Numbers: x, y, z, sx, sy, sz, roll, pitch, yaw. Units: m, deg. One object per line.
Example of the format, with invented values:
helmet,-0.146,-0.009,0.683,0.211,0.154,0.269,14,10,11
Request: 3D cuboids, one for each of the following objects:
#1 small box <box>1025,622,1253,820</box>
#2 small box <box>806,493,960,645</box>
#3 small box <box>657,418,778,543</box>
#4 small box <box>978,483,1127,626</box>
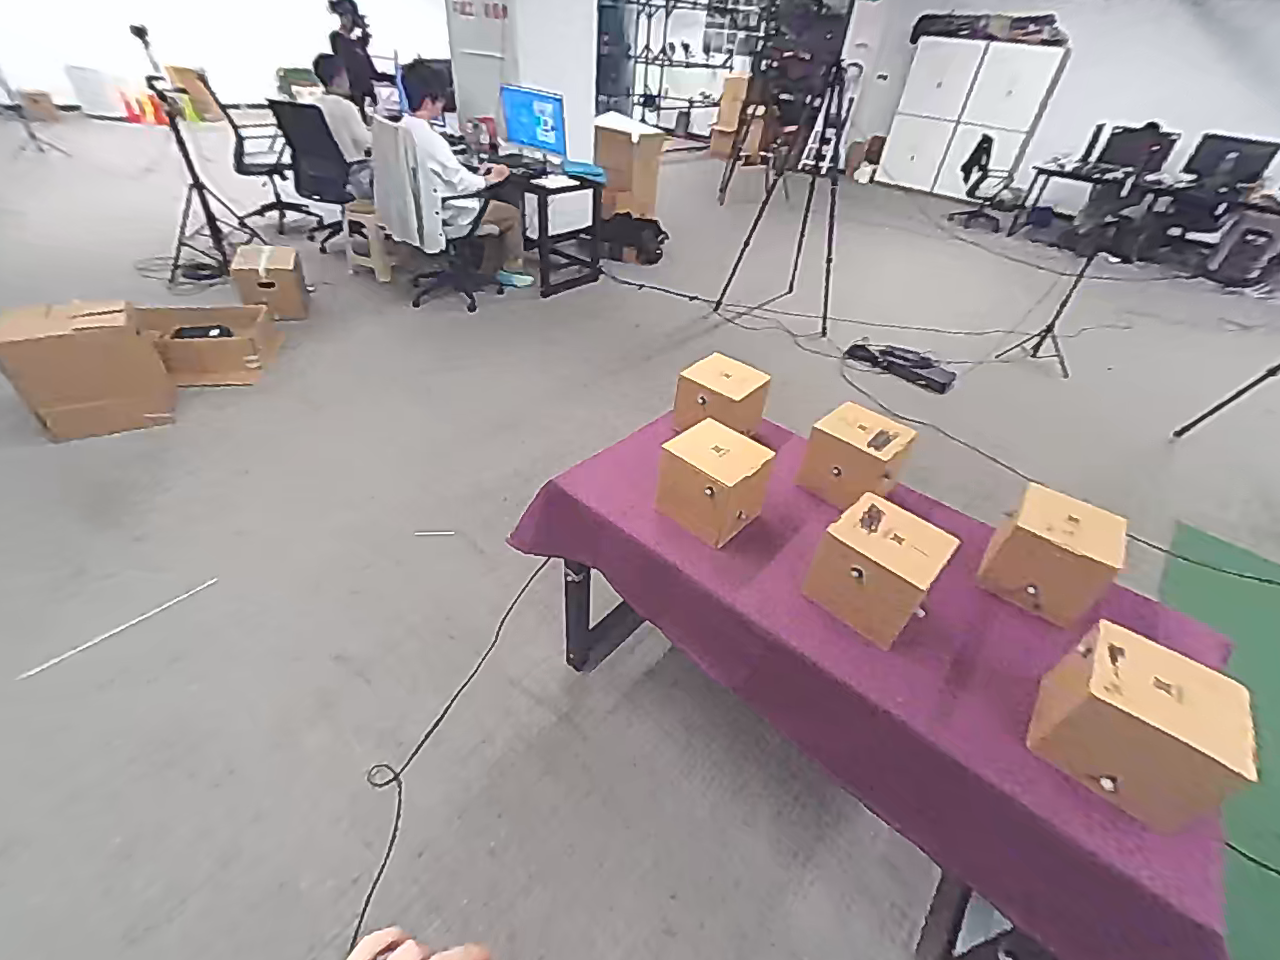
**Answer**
small box,0.706,0.350,0.779,0.179,0.176,0.168,31,45,27
small box,0.428,0.159,0.977,0.179,0.176,0.168,35,48,30
small box,0.155,0.001,1.134,0.179,0.176,0.168,34,47,28
small box,0.787,0.141,1.042,0.168,0.176,0.179,30,45,27
